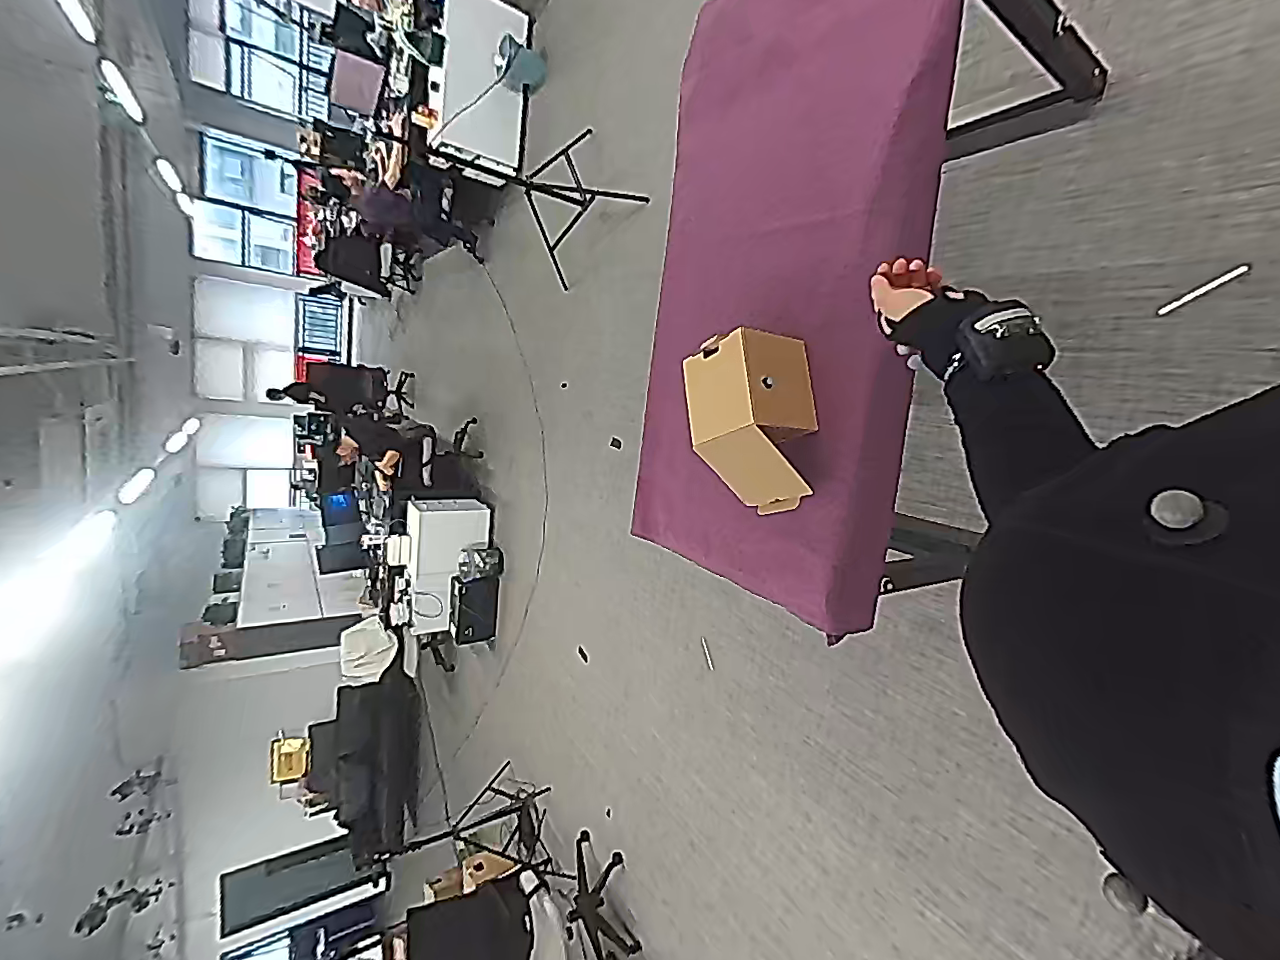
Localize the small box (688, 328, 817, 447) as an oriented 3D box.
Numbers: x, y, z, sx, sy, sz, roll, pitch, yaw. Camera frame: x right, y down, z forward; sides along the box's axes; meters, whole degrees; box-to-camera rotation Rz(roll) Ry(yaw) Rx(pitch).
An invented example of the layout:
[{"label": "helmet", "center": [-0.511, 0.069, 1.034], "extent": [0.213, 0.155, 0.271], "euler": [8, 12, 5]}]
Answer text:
[{"label": "small box", "center": [0.212, -0.163, 1.017], "extent": [0.168, 0.176, 0.179], "euler": [-19, 73, 54]}]
